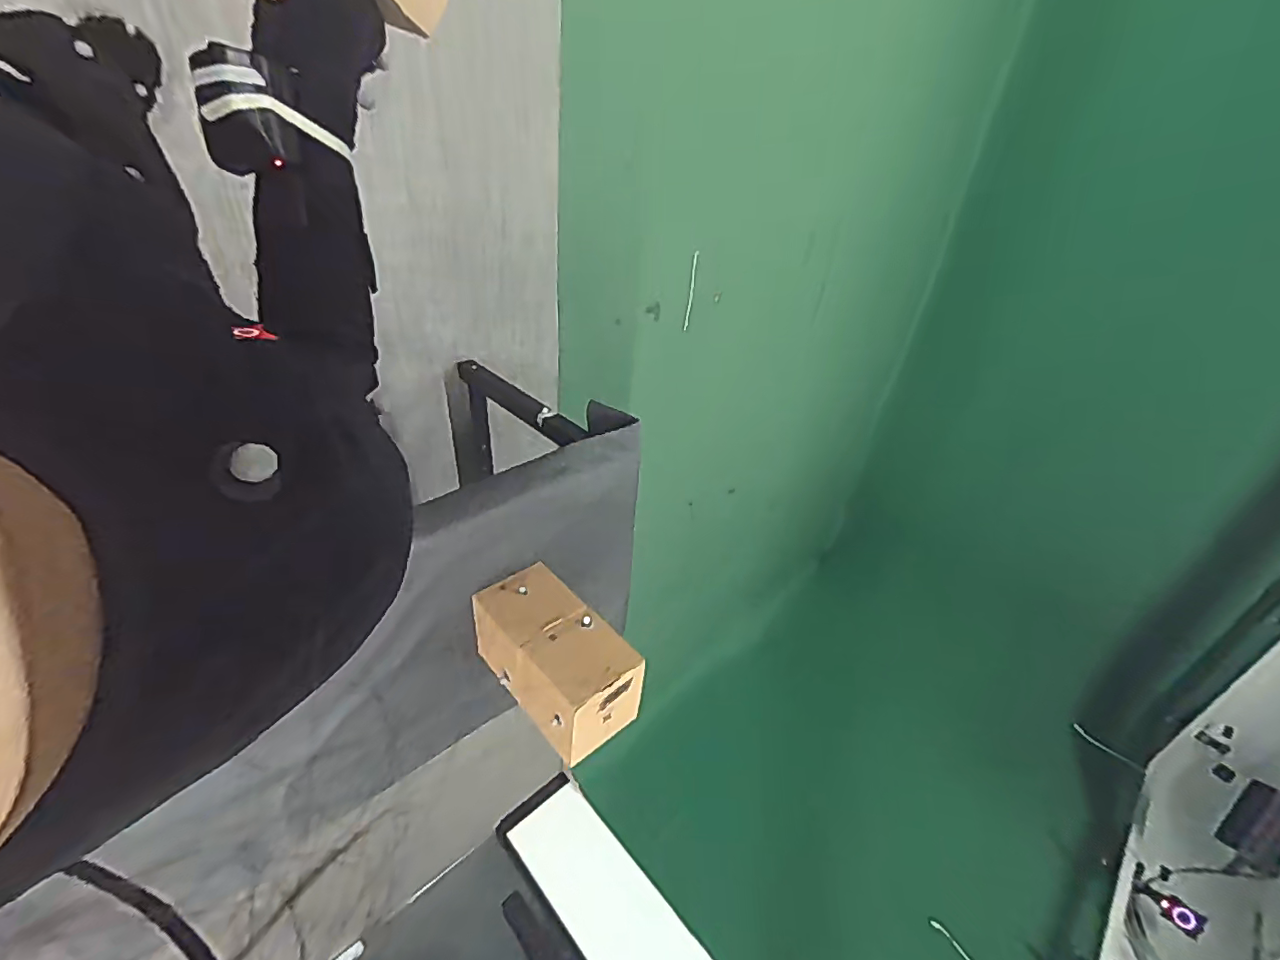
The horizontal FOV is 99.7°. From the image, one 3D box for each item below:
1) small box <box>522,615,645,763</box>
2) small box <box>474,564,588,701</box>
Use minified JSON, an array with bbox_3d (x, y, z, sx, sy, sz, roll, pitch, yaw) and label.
[{"bbox_3d":[-0.113,0.383,1.030,0.168,0.176,0.179,-23,133,-38],"label":"small box"},{"bbox_3d":[-0.227,0.308,1.121,0.168,0.176,0.179,-25,134,-38],"label":"small box"}]
